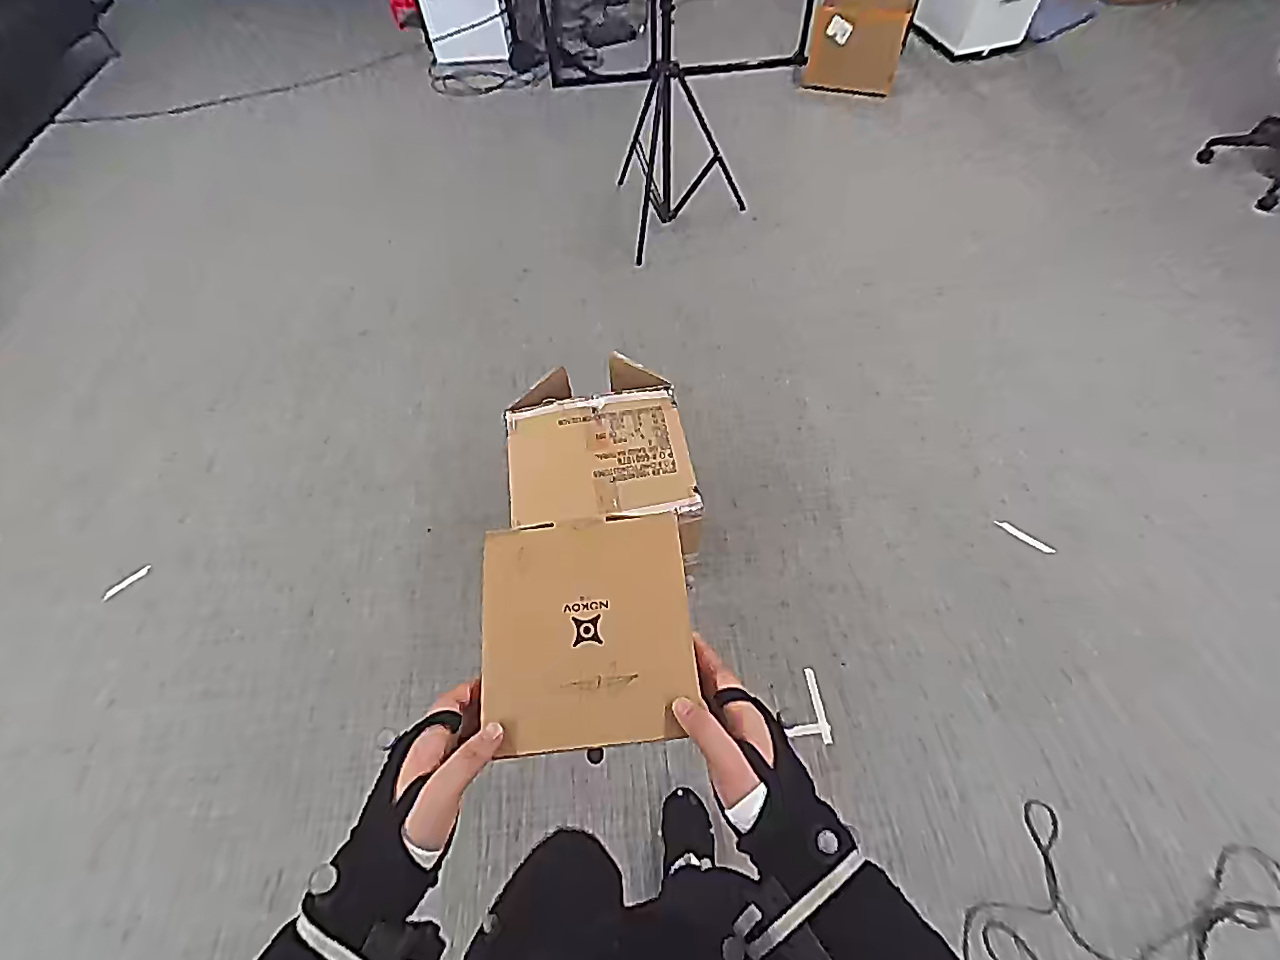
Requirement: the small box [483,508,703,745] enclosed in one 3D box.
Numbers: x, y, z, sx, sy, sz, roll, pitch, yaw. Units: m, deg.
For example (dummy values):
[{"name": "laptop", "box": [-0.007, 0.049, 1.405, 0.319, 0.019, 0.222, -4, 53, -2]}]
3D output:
[{"name": "small box", "box": [-0.041, 0.142, 0.505, 0.168, 0.176, 0.179, -6, 67, -1]}]
